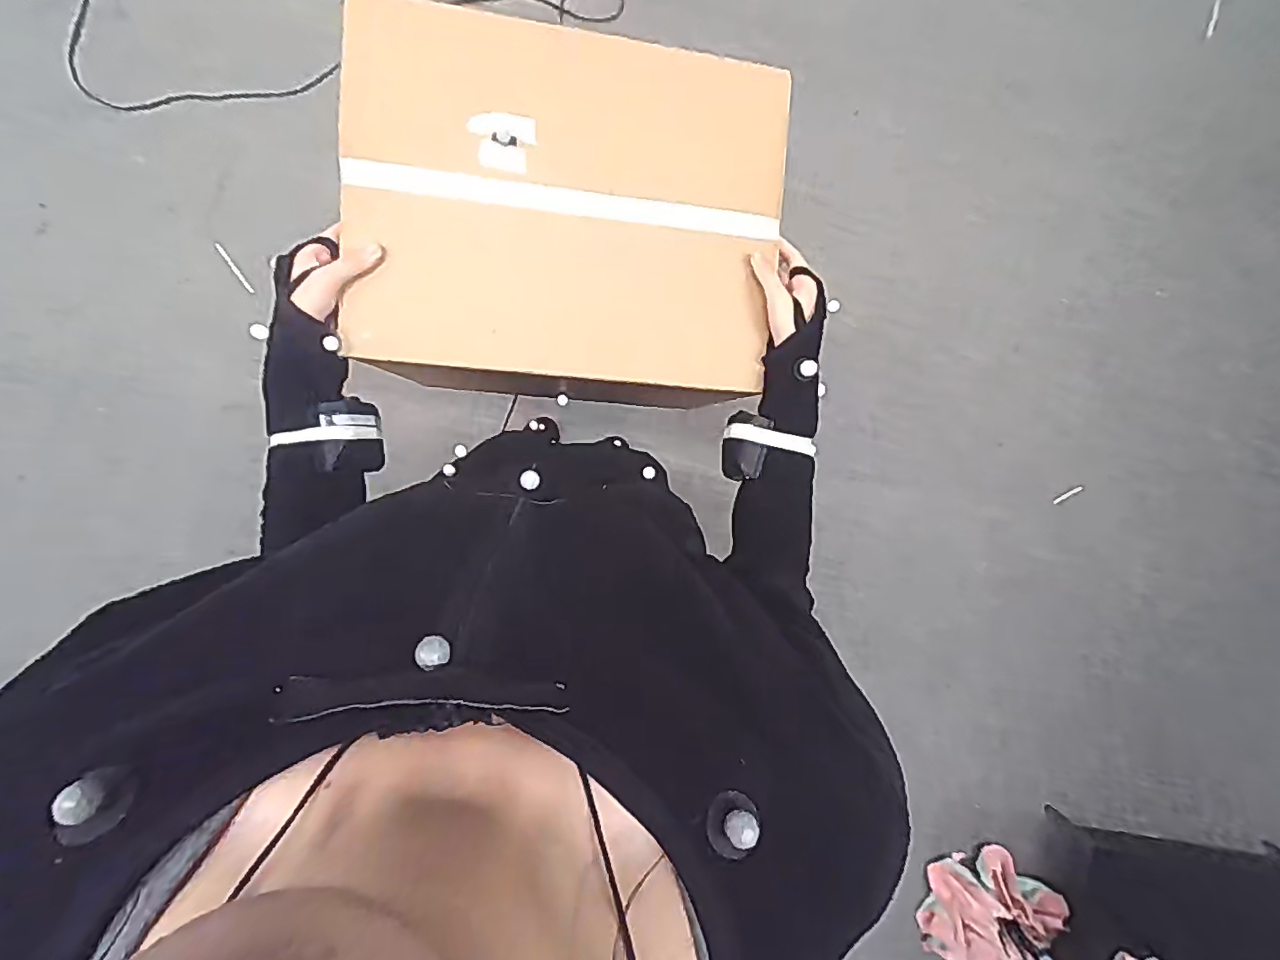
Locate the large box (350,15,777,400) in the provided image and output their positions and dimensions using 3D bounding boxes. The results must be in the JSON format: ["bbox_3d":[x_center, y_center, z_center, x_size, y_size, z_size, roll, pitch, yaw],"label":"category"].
[{"bbox_3d":[-0.086,-0.268,0.666,0.408,0.320,0.320,3,94,-9],"label":"large box"}]
